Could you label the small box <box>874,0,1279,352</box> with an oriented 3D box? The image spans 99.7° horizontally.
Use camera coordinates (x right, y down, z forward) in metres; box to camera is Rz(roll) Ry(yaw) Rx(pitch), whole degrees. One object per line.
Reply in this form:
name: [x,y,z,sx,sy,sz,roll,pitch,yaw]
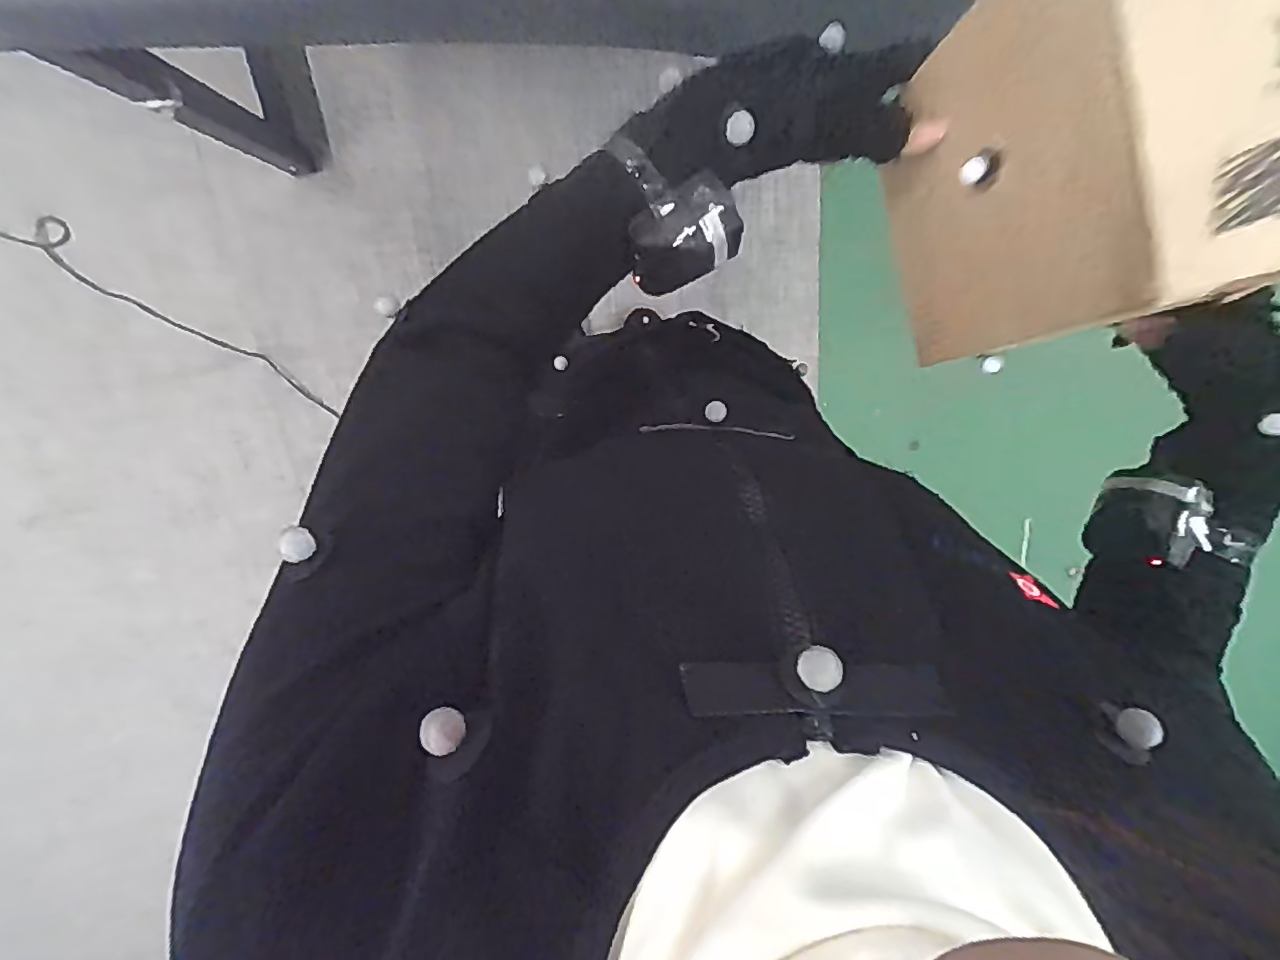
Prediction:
small box: [0.266,-0.182,0.314,0.168,0.176,0.179,-13,92,-5]
